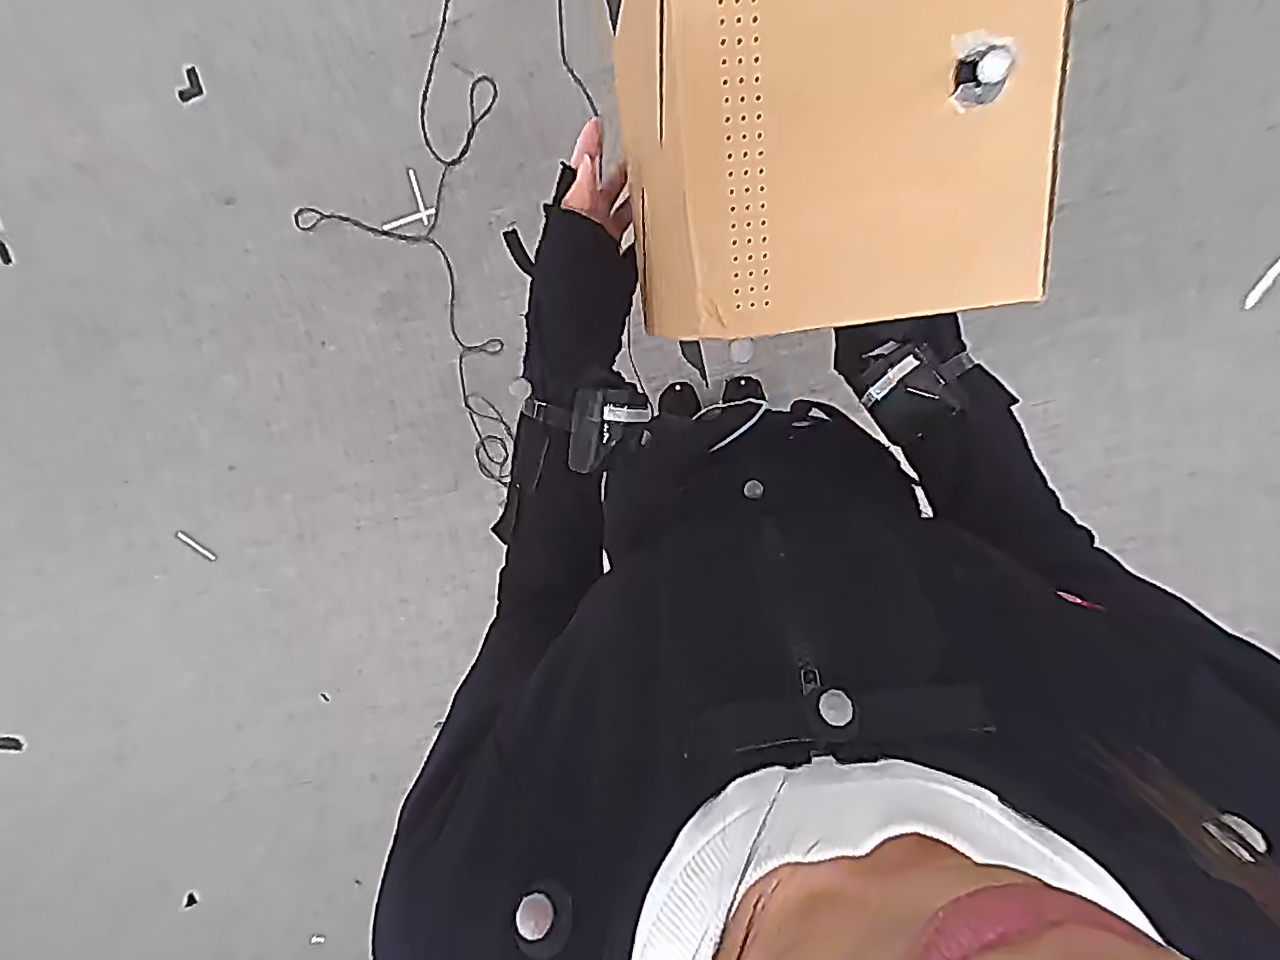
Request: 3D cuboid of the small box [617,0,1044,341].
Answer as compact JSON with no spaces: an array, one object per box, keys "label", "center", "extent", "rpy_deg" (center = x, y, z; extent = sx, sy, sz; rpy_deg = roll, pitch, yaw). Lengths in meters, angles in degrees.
[{"label":"small box","center":[0.081,-0.180,0.305],"extent":[0.176,0.168,0.179],"rpy_deg":[-8,107,-5]}]
